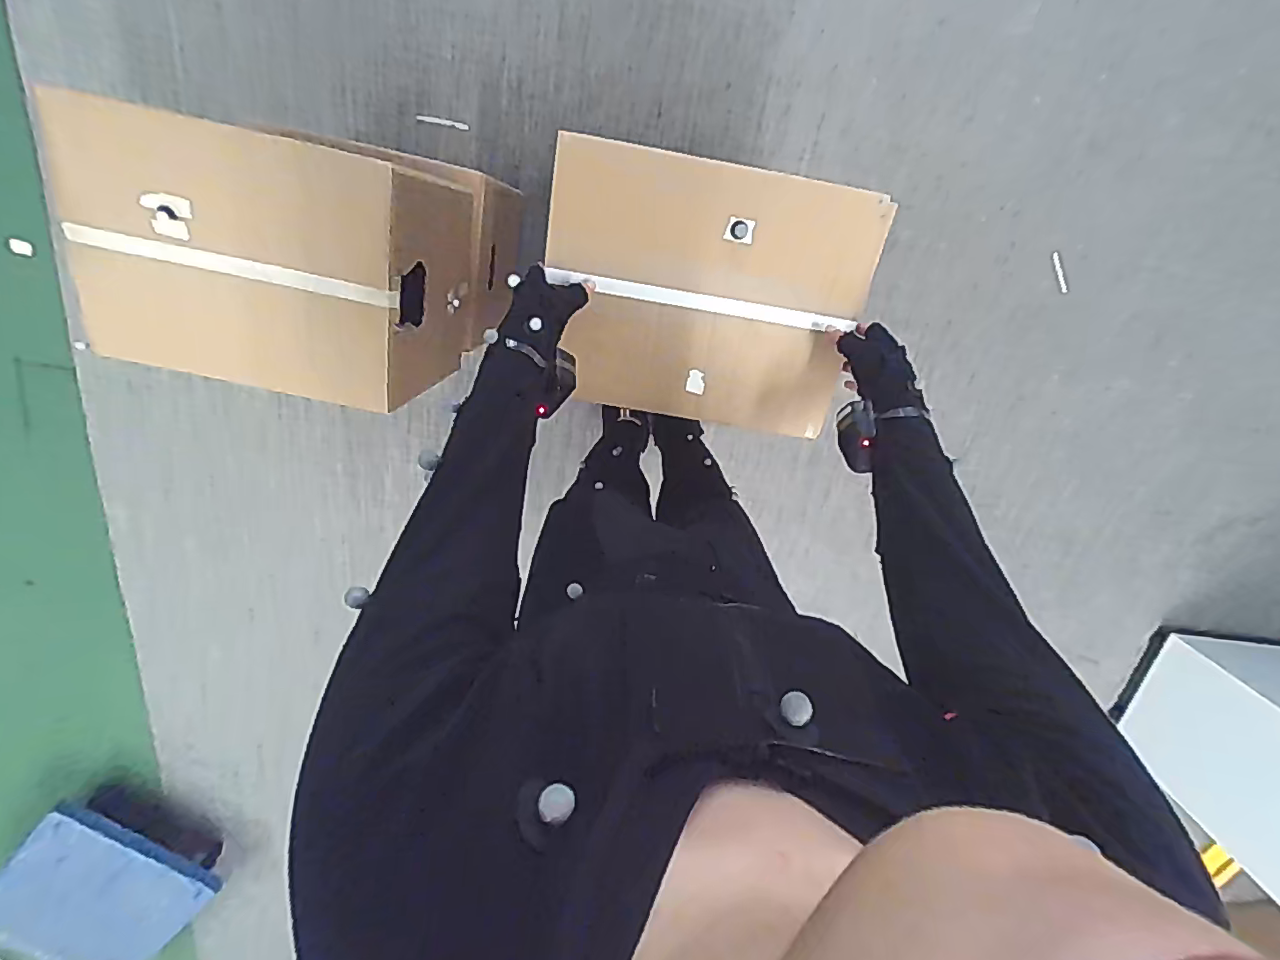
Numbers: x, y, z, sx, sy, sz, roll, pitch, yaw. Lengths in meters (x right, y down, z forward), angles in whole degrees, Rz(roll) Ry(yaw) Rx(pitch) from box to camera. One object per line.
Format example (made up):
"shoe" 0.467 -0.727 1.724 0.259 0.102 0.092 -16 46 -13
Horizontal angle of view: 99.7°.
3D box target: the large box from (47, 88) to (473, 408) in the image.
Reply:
"large box" -0.503 -0.333 0.817 0.408 0.320 0.320 12 113 -3
